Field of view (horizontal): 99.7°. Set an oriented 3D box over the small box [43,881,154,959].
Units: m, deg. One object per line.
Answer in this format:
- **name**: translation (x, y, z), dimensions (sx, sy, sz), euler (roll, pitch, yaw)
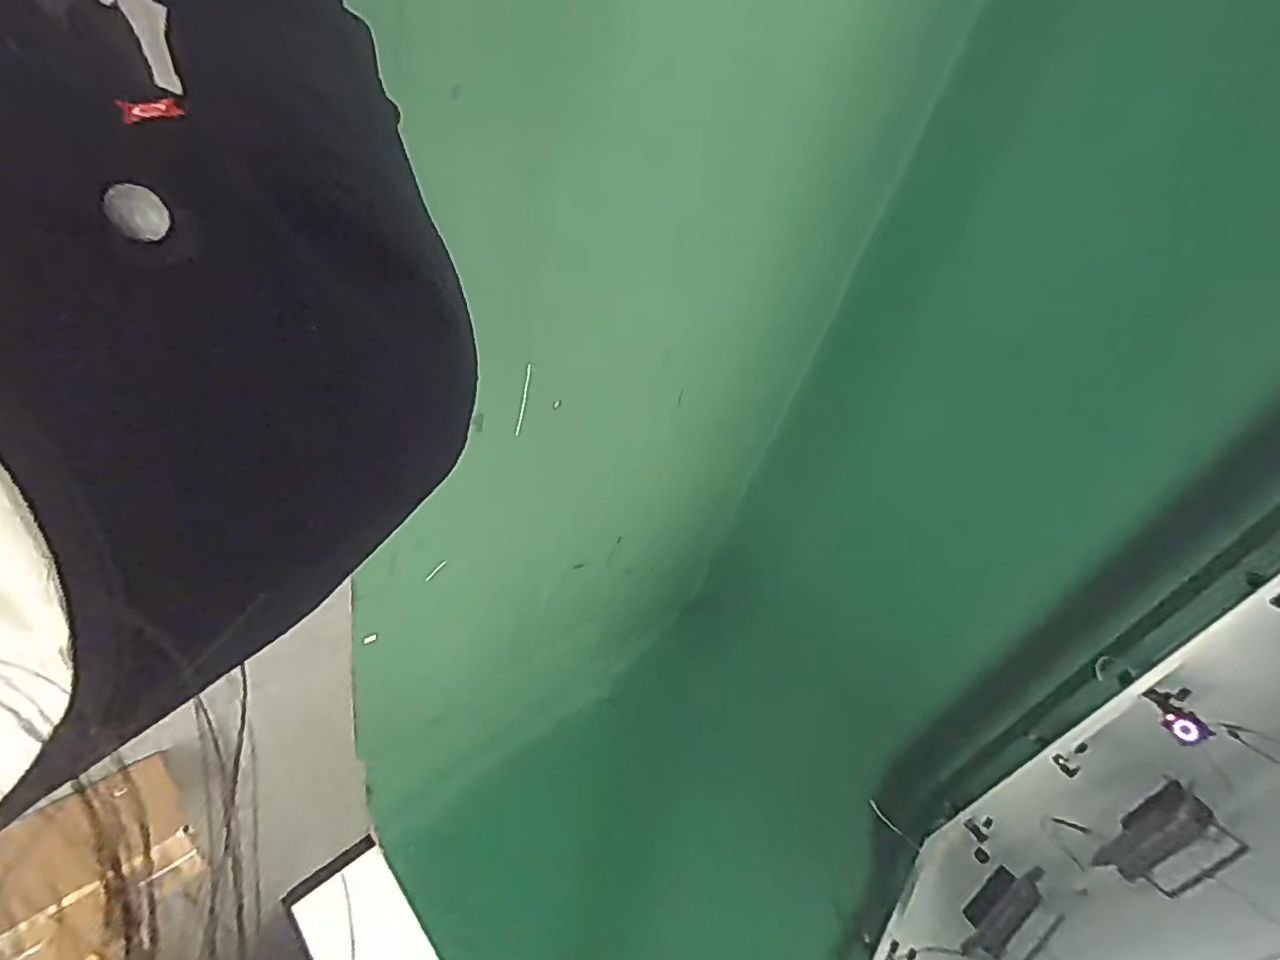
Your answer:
- **small box**: translation (-1.513, 1.281, 1.513), dimensions (0.179, 0.176, 0.168), euler (-20, 137, -43)
